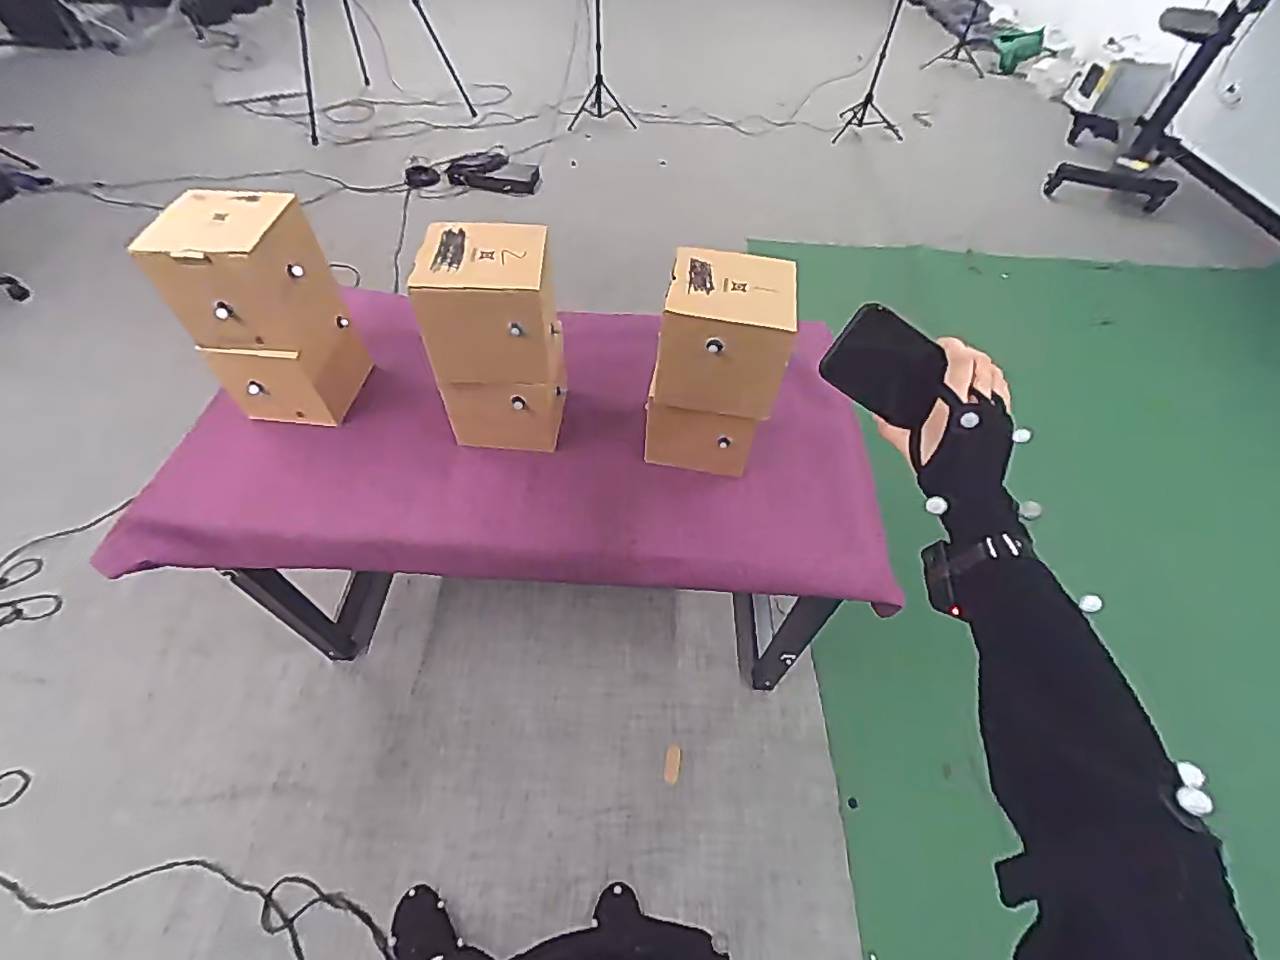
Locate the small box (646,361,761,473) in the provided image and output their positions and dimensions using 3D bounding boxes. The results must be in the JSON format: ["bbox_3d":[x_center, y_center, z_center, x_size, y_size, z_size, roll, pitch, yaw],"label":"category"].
[{"bbox_3d":[0.111,-0.132,0.937,0.179,0.176,0.168,9,53,6],"label":"small box"}]

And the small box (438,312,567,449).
[{"bbox_3d":[-0.227,-0.170,0.952,0.179,0.176,0.168,4,53,1],"label":"small box"}]

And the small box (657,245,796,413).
[{"bbox_3d":[0.123,-0.218,0.798,0.179,0.176,0.168,9,53,4],"label":"small box"}]

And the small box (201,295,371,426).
[{"bbox_3d":[-0.616,-0.215,0.973,0.168,0.176,0.179,5,53,2],"label":"small box"}]

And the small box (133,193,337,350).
[{"bbox_3d":[-0.610,-0.322,0.847,0.168,0.176,0.179,1,53,-2],"label":"small box"}]
